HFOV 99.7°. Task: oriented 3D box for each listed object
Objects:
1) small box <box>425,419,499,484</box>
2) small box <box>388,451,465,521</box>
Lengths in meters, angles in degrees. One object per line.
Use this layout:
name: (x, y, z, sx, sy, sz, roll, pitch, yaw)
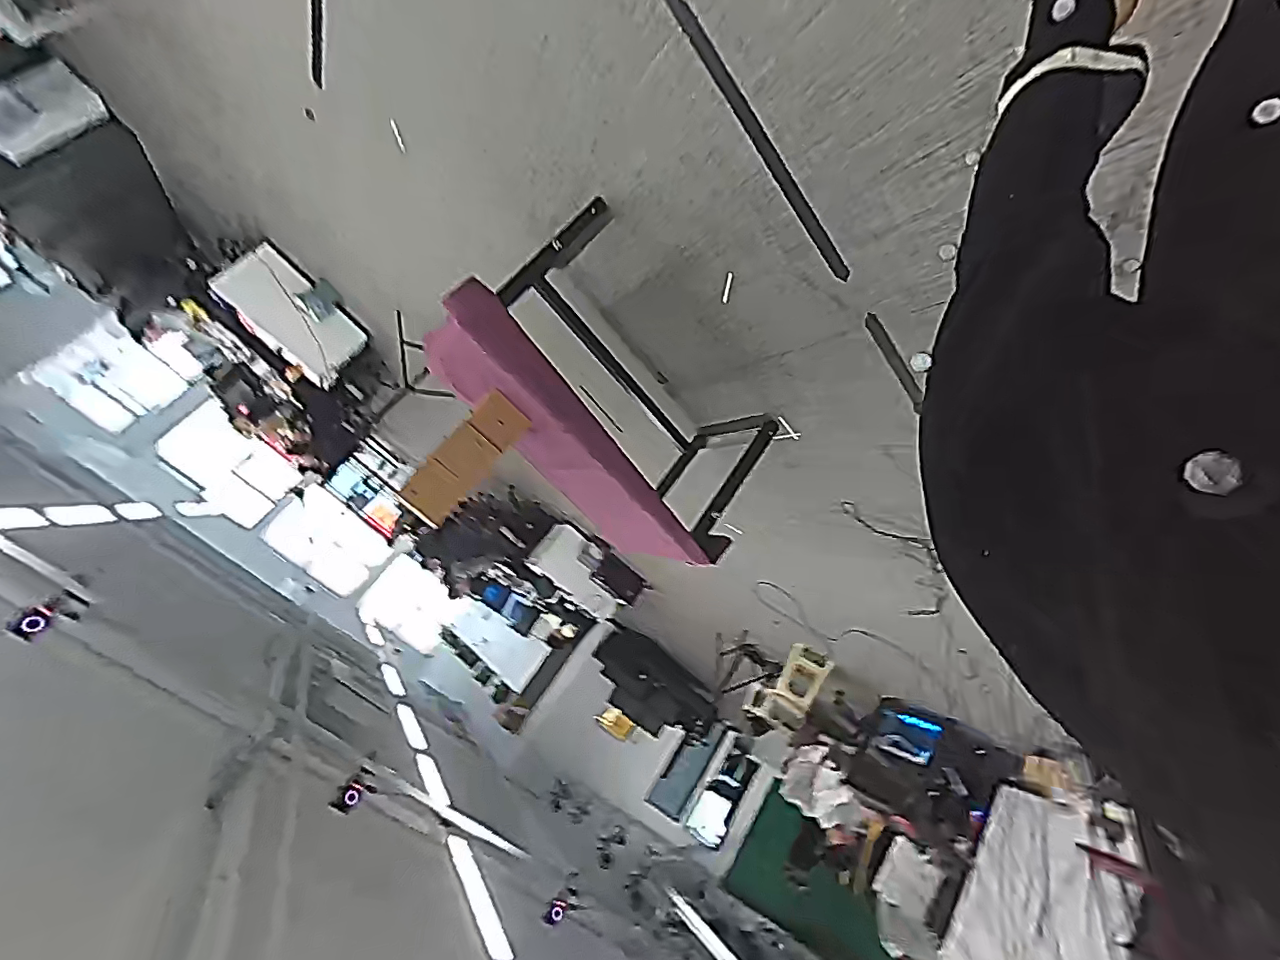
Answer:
small box: (-0.630, -0.099, 1.897, 0.179, 0.176, 0.168, 45, 158, -17)
small box: (-0.726, 0.023, 1.845, 0.179, 0.176, 0.168, 44, 158, -18)
